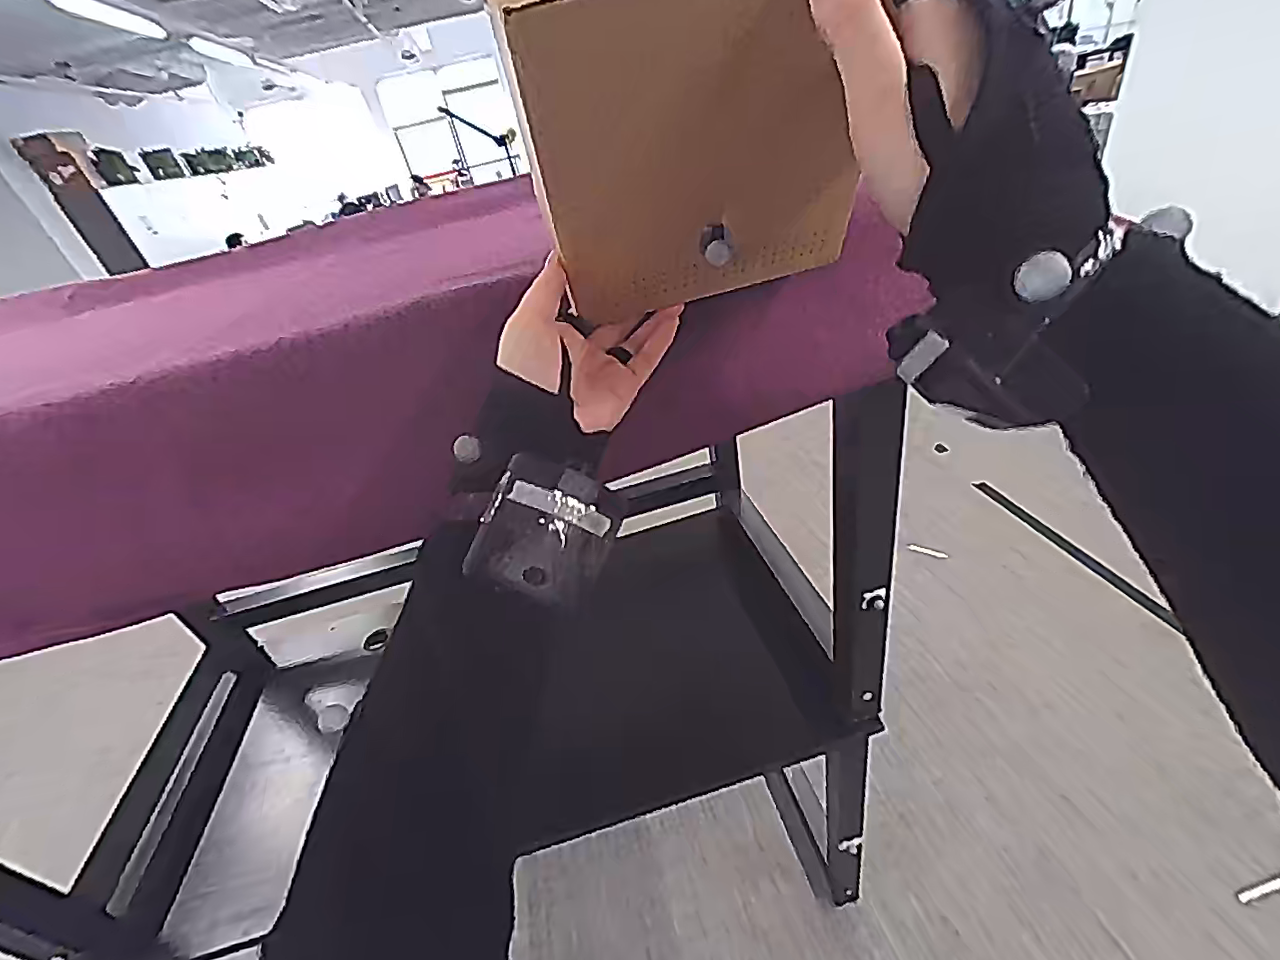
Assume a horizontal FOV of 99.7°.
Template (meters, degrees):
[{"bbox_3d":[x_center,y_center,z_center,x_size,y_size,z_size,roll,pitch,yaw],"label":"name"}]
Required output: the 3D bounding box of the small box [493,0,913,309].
[{"bbox_3d":[0.018,-0.229,0.308,0.179,0.176,0.168,-16,61,-4],"label":"small box"}]
